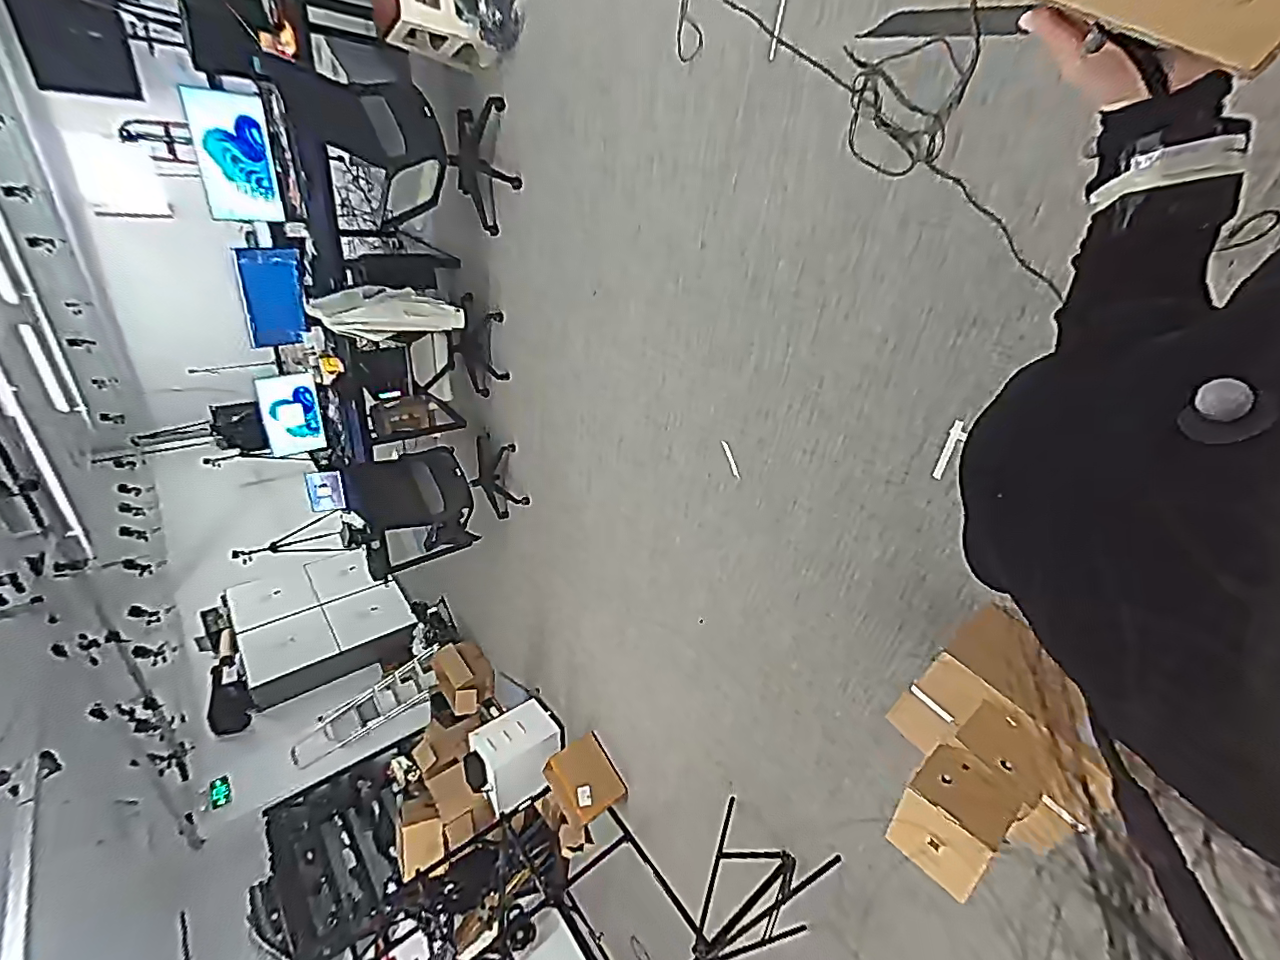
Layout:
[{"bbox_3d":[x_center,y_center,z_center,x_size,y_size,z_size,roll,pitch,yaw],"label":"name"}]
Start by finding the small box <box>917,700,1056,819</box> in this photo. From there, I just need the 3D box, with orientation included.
[{"bbox_3d":[0.772,0.633,1.203,0.179,0.176,0.168,45,135,33],"label":"small box"}]

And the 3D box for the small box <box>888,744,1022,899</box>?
[{"bbox_3d":[0.649,0.689,1.112,0.168,0.176,0.179,30,128,43],"label":"small box"}]
